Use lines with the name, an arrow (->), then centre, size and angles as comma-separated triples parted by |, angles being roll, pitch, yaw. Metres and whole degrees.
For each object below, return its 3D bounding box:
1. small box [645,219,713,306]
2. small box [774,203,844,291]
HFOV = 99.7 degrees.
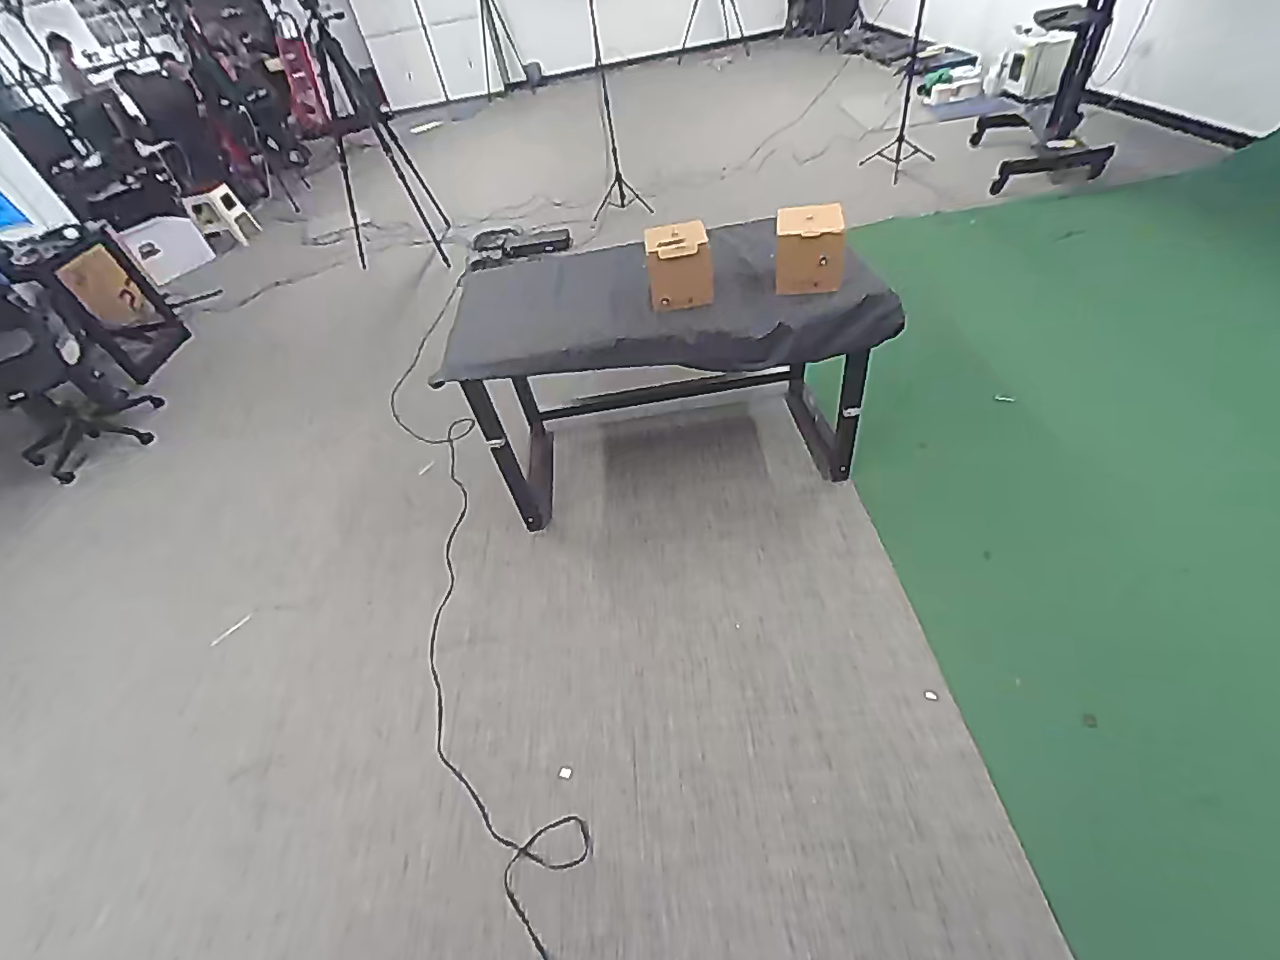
small box -> 0.109, -0.598, 1.505 | 0.168, 0.176, 0.179 | -7, 44, 4
small box -> 0.452, -0.622, 1.459 | 0.168, 0.176, 0.179 | 1, 45, 12
